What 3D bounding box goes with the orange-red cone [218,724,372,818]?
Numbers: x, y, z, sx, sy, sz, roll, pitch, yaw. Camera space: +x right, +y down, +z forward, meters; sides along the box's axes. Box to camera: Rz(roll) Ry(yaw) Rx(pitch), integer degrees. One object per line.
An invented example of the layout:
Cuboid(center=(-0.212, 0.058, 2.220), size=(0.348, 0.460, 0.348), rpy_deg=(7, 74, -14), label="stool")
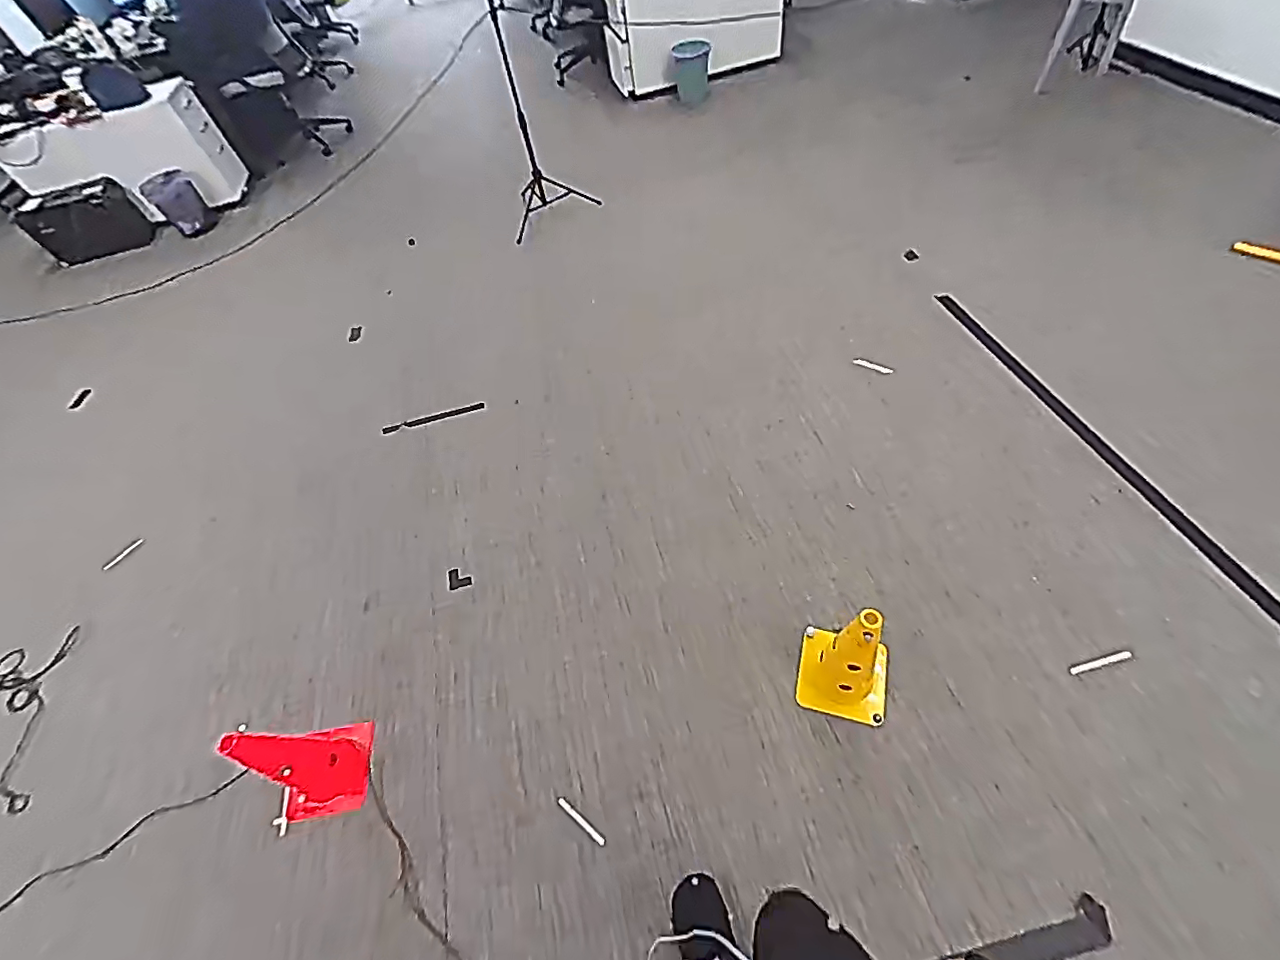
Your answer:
Cuboid(center=(-0.803, 0.629, 1.221), size=(0.199, 0.360, 0.198), rpy_deg=(-10, 54, 1), label="orange-red cone")
